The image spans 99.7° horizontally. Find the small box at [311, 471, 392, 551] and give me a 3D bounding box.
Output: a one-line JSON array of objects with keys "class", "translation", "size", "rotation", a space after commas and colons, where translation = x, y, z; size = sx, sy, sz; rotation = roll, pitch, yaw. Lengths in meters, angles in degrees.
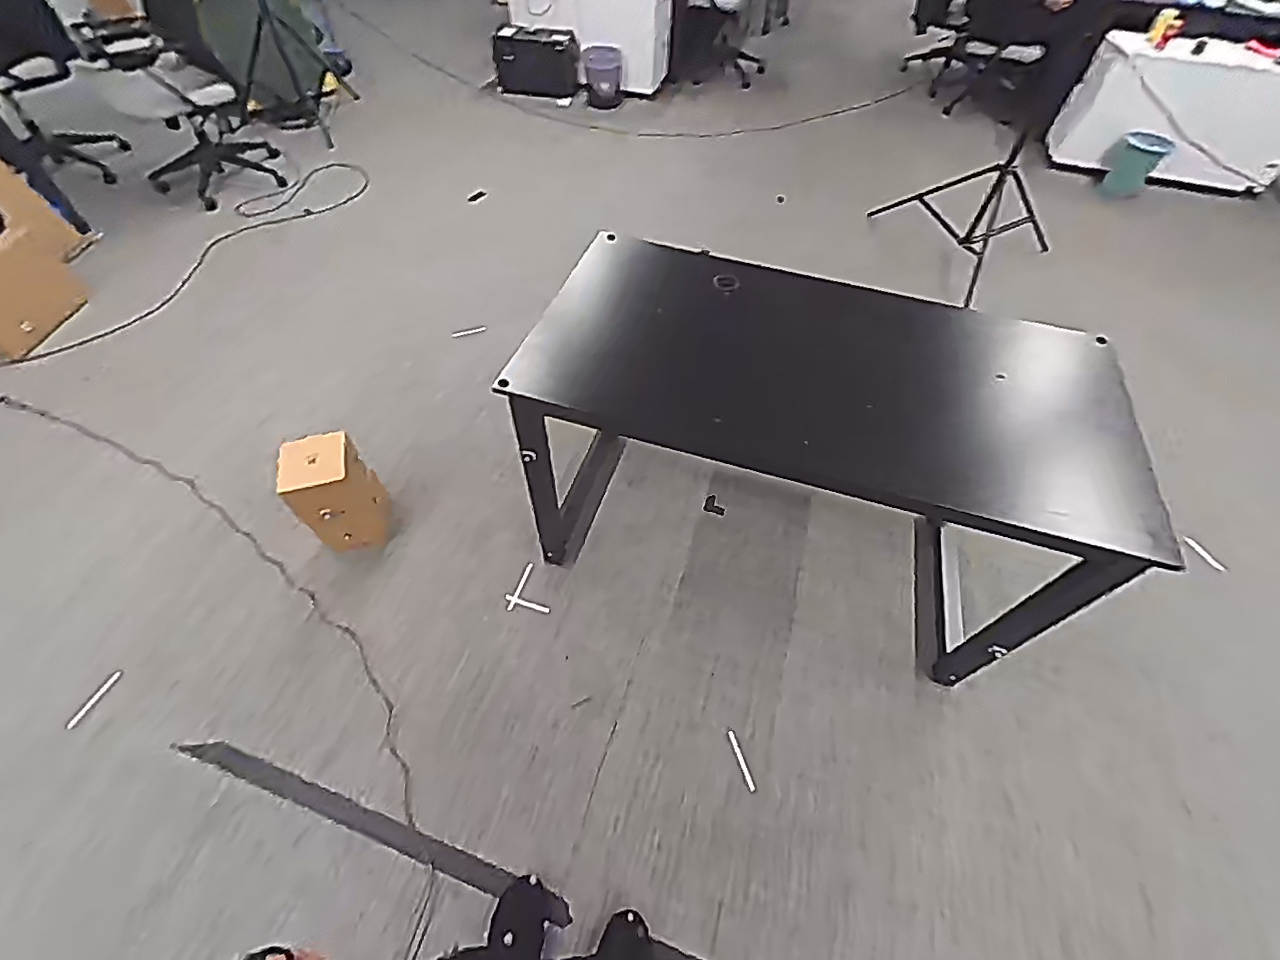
[{"class": "small box", "translation": [-0.862, 0.100, 1.632], "size": [0.168, 0.176, 0.179], "rotation": [-9, 54, -11]}]

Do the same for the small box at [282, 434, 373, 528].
[{"class": "small box", "translation": [-0.859, 0.004, 1.500], "size": [0.168, 0.176, 0.179], "rotation": [-15, 57, -11]}]
